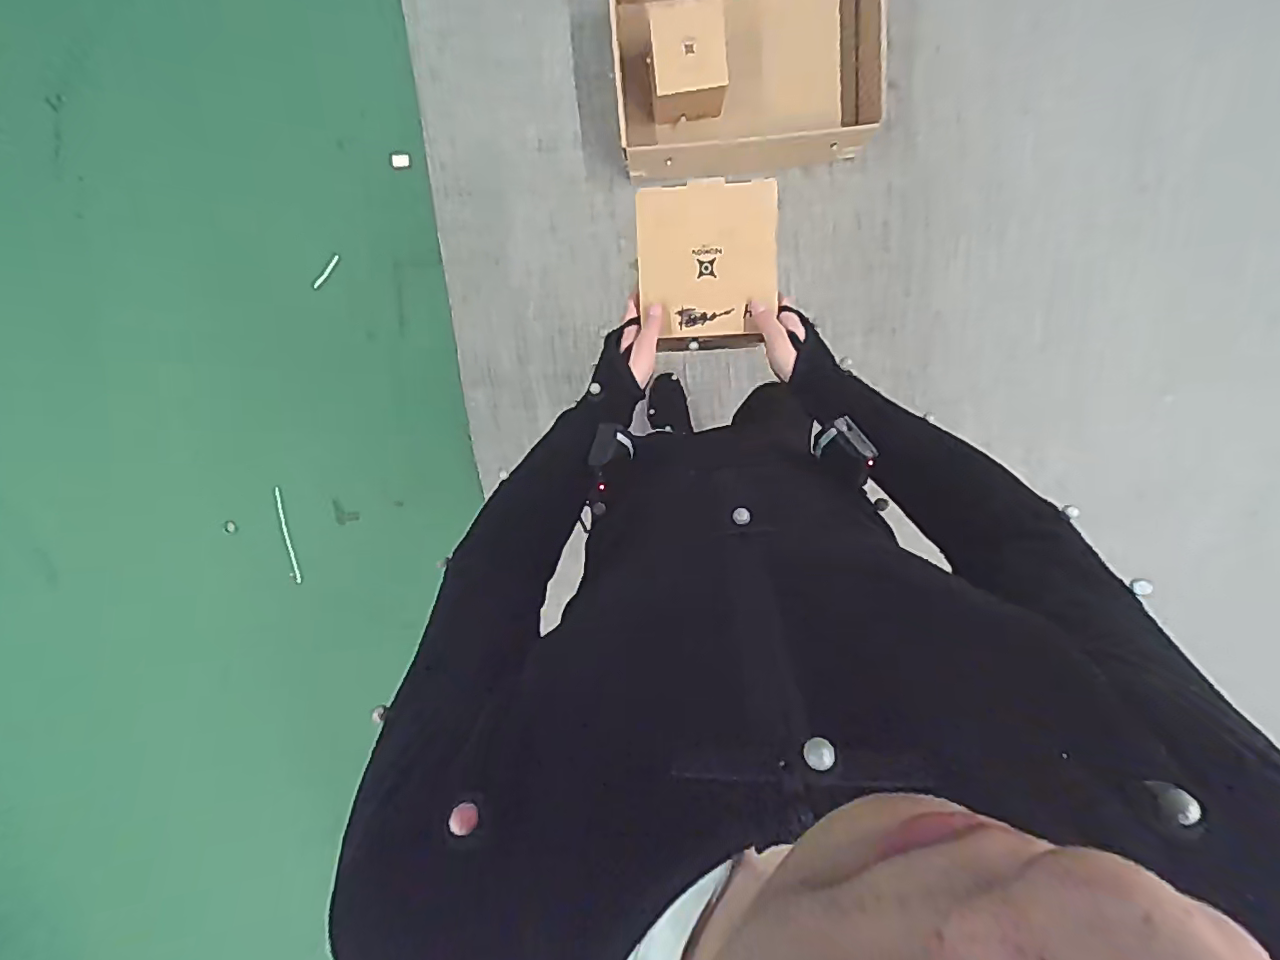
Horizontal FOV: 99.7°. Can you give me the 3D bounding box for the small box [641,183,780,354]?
[{"bbox_3d":[0.087,-0.266,0.717,0.168,0.176,0.179,-1,98,5],"label":"small box"}]
